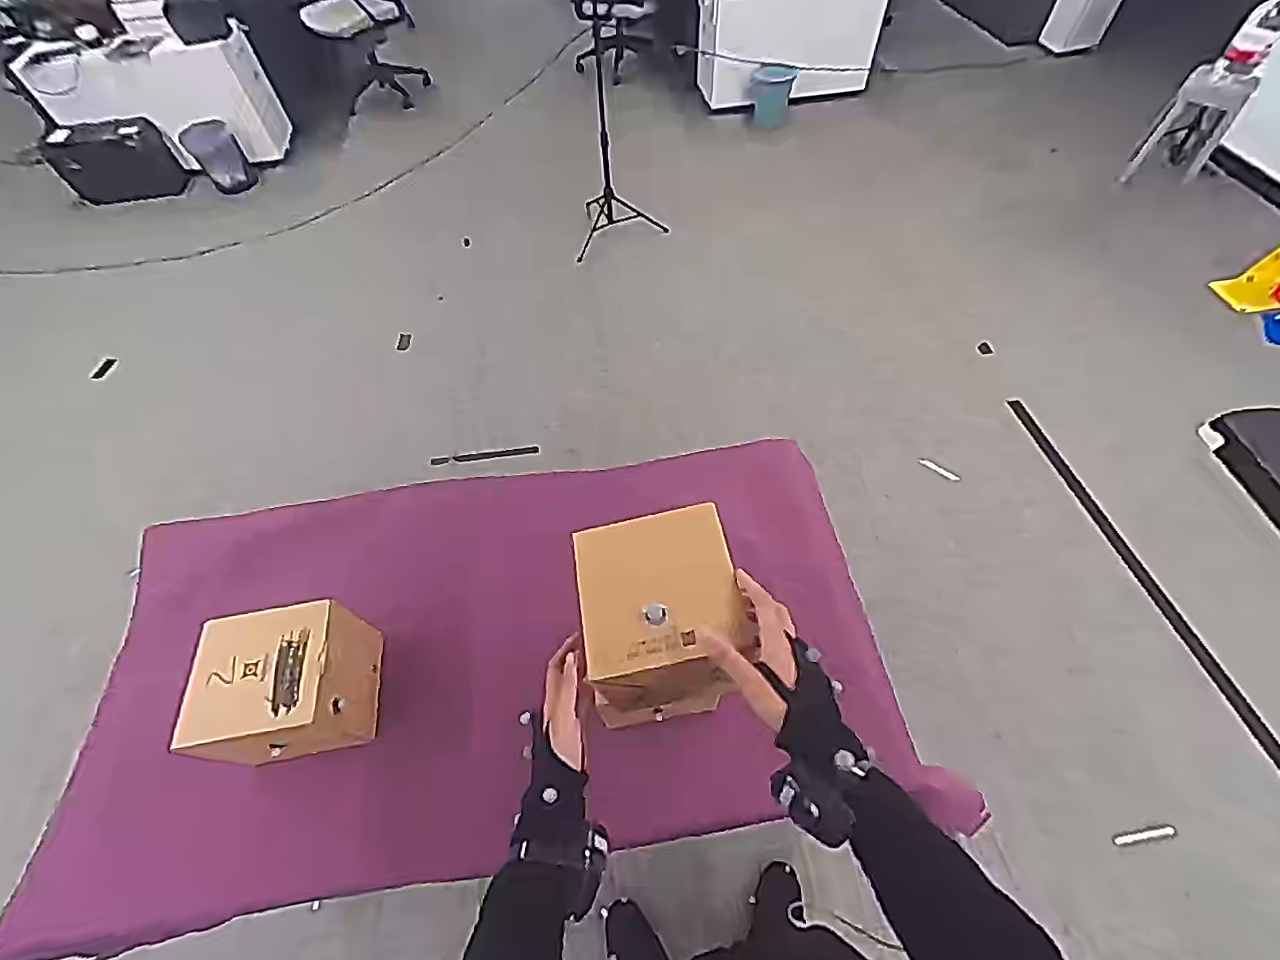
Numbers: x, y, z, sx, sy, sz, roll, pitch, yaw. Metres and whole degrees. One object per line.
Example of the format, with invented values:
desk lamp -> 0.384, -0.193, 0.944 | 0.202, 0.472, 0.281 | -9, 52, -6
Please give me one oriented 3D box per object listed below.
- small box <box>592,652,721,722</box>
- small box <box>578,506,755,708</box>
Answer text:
small box -> 0.018, 0.244, 0.791 | 0.168, 0.176, 0.179 | -9, 56, -3
small box -> 0.032, 0.158, 0.635 | 0.168, 0.179, 0.176 | -13, 57, 1
